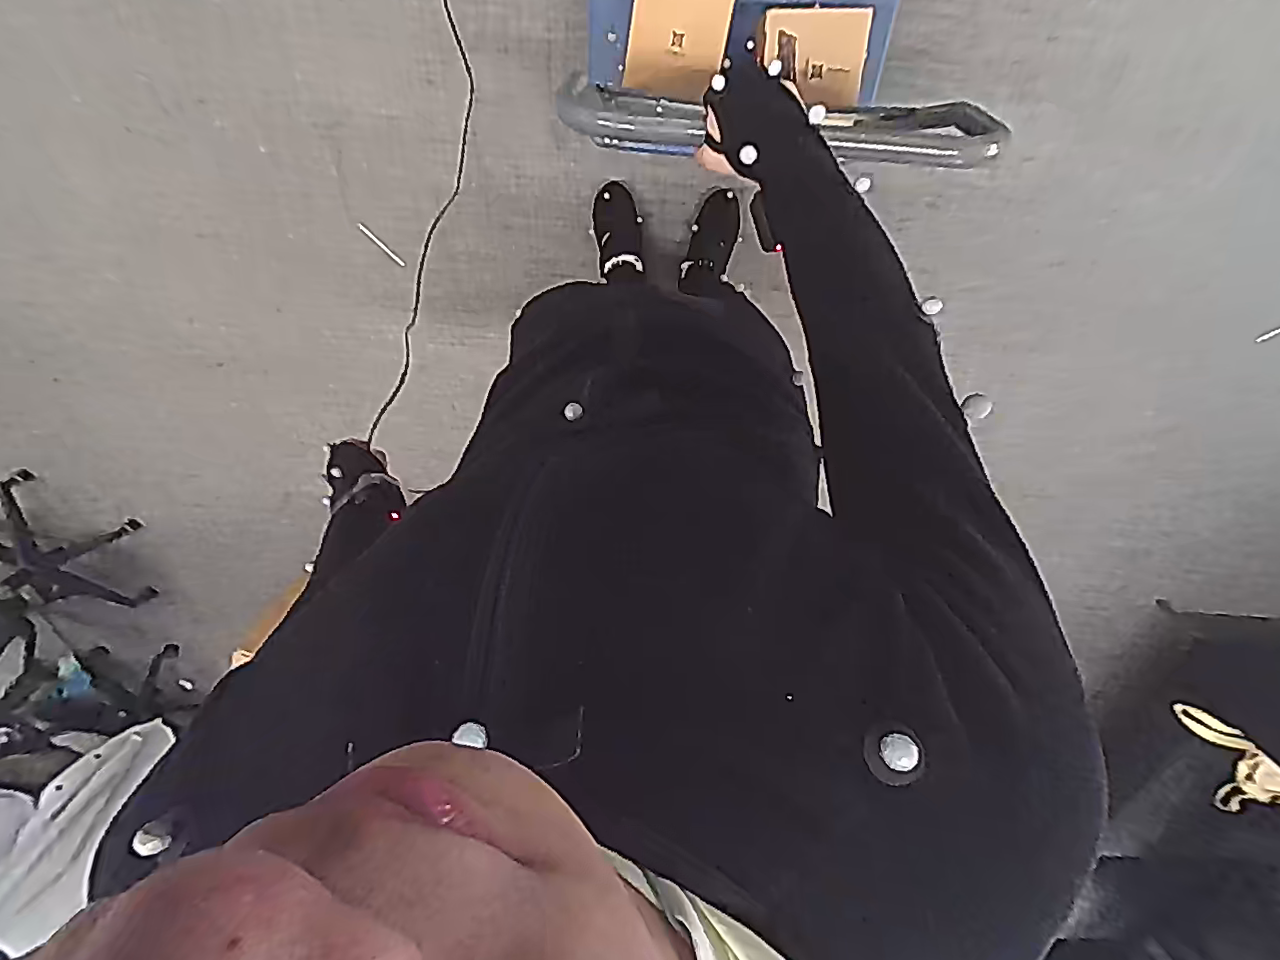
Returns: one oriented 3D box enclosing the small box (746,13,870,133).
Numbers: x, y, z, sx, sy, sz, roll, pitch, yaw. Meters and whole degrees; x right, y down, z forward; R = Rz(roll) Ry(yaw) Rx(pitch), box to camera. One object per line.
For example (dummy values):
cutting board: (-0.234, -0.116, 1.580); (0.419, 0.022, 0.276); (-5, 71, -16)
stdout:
small box: (0.297, -0.744, 1.002); (0.179, 0.176, 0.168); (2, 123, 2)

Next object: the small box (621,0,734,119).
small box: (0.063, -0.782, 0.991); (0.168, 0.176, 0.179); (10, 123, -4)
